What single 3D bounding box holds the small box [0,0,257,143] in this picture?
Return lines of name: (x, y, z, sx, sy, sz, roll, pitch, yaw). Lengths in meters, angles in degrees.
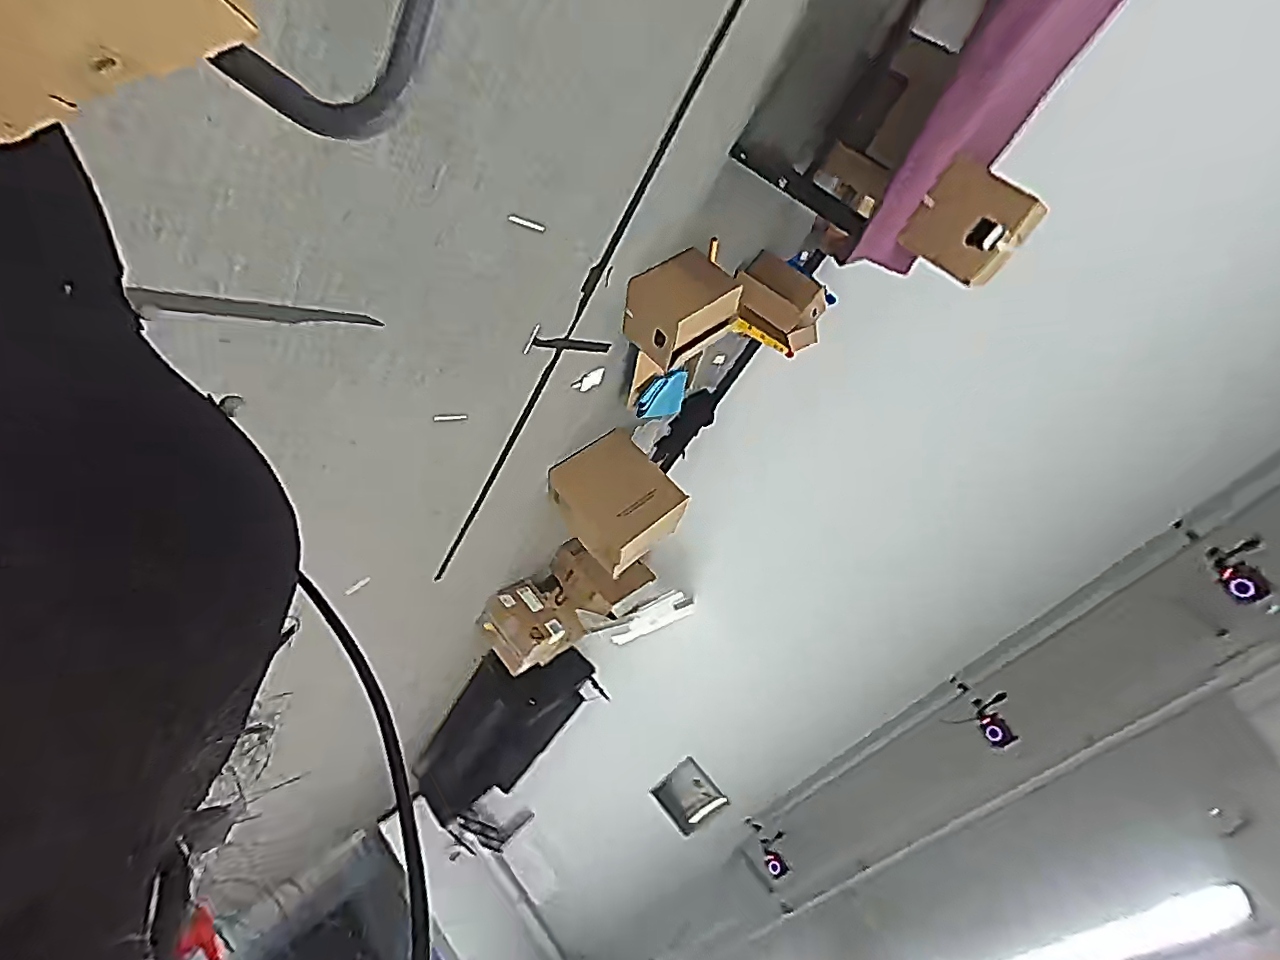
small box: (-0.289, -0.256, 0.175, 0.168, 0.179, 0.176, -17, -169, 3)
